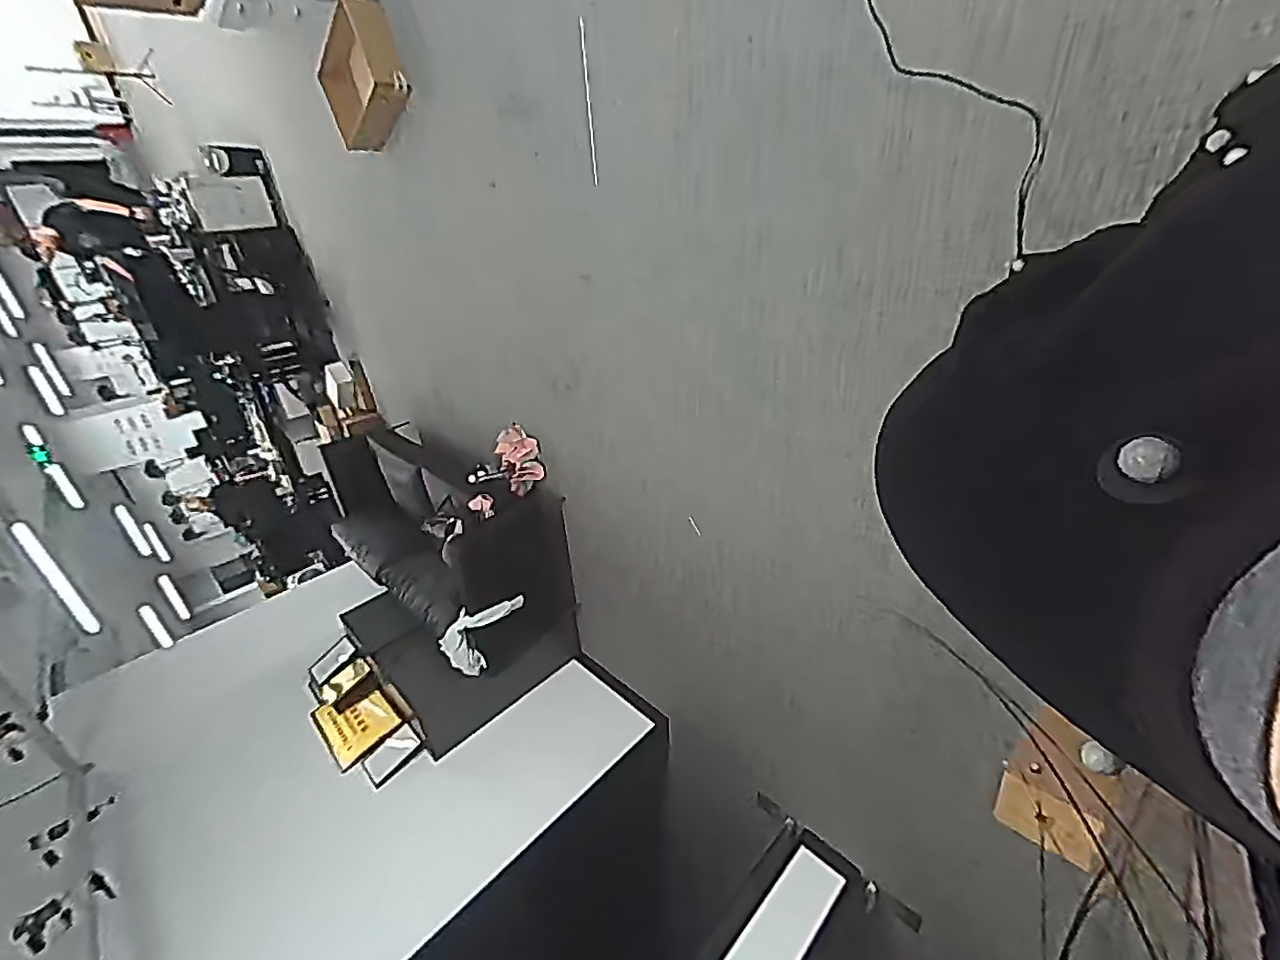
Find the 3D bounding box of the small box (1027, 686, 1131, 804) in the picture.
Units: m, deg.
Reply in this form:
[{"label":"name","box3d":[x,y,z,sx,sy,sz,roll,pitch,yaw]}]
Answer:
[{"label":"small box","box3d":[1.033,0.628,1.287,0.179,0.176,0.168,17,124,42]}]

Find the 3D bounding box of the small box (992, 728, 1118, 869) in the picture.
[{"label":"small box","box3d":[0.912,0.686,1.191,0.179,0.176,0.168,18,126,42]}]
